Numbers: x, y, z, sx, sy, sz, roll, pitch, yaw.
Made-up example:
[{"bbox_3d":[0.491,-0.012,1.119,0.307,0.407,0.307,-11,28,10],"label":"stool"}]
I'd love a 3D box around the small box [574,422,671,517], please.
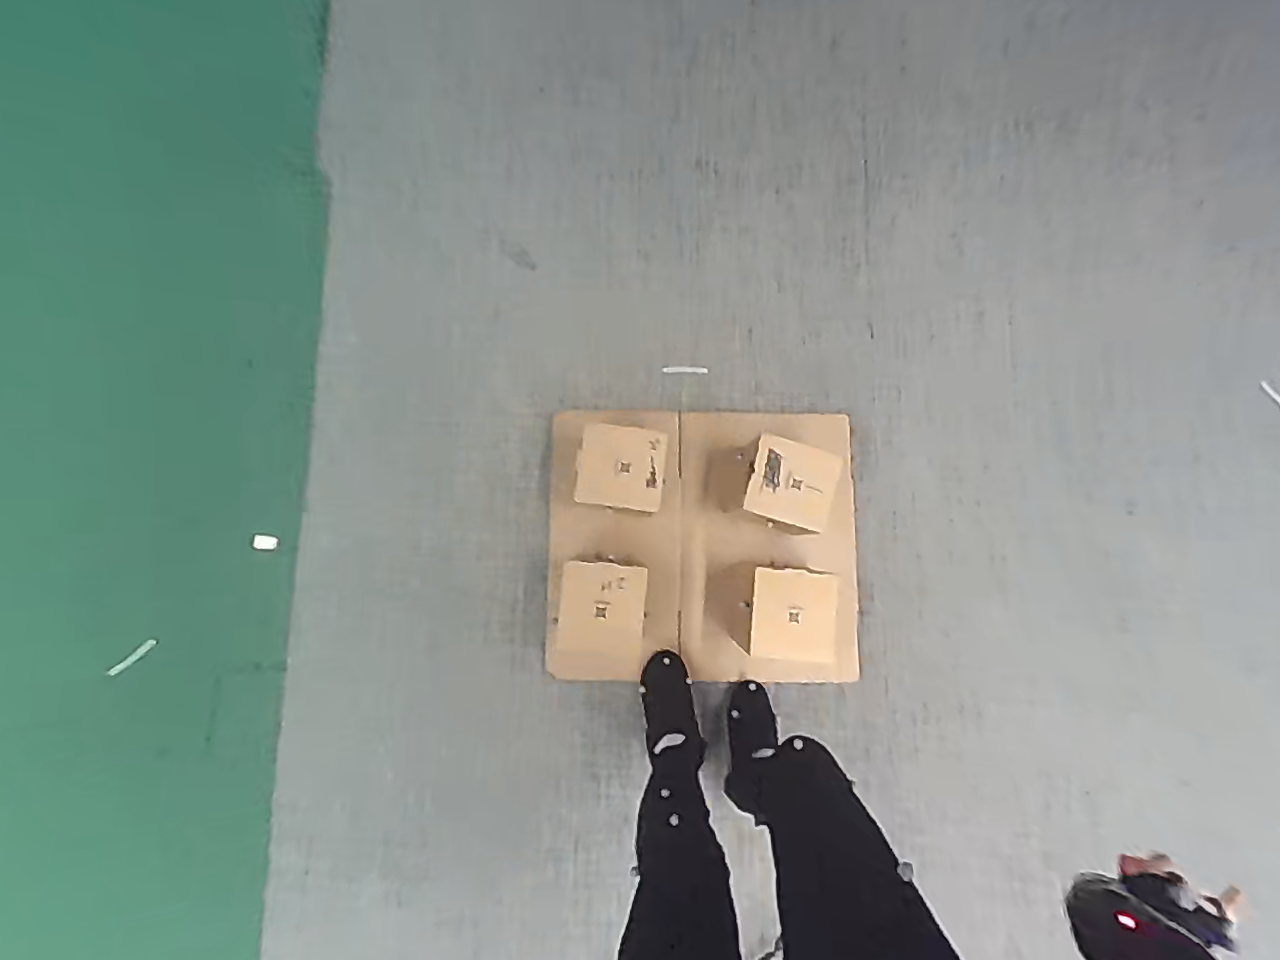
[{"bbox_3d":[-0.035,-0.015,1.159,0.179,0.176,0.168,8,82,0],"label":"small box"}]

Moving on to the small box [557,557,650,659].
[{"bbox_3d":[-0.070,0.258,1.124,0.168,0.176,0.179,6,82,-1],"label":"small box"}]

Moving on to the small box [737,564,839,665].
[{"bbox_3d":[0.300,0.273,1.127,0.168,0.176,0.179,5,82,0],"label":"small box"}]

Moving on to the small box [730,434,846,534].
[{"bbox_3d":[0.306,0.017,1.157,0.179,0.176,0.168,17,83,0],"label":"small box"}]
